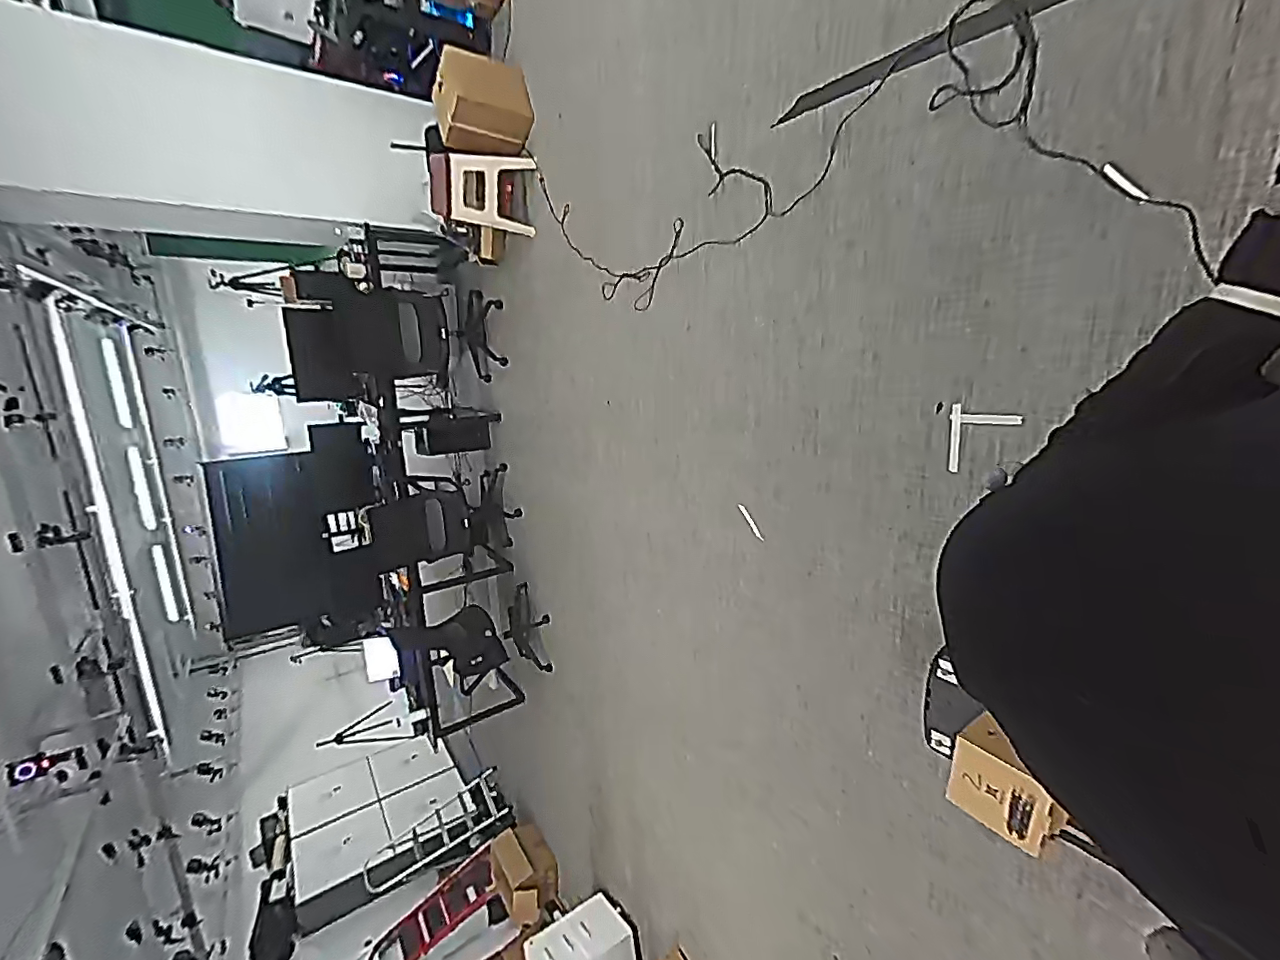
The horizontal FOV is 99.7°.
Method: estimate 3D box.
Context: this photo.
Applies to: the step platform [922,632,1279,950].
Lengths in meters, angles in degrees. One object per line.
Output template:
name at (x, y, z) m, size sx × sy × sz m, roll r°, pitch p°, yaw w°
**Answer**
step platform at (0.966, 0.593, 1.136) m, size 0.684 × 0.204 × 0.286 m, roll 15°, pitch 112°, yaw 53°
